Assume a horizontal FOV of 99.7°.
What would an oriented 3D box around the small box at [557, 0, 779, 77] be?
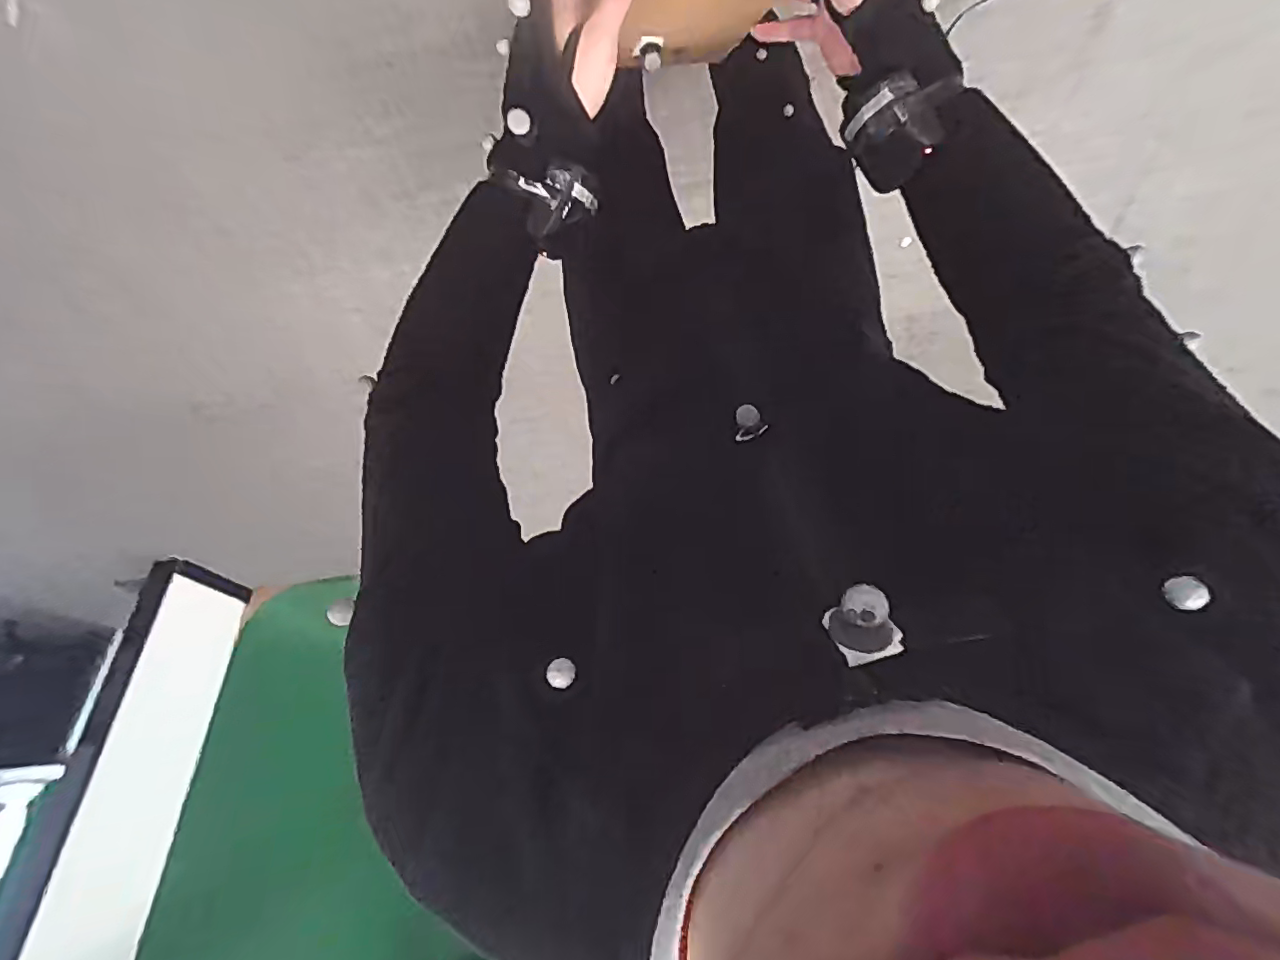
[{"bbox_3d":[0.018,-0.468,0.435,0.168,0.176,0.179,-16,106,-15],"label":"small box"}]
